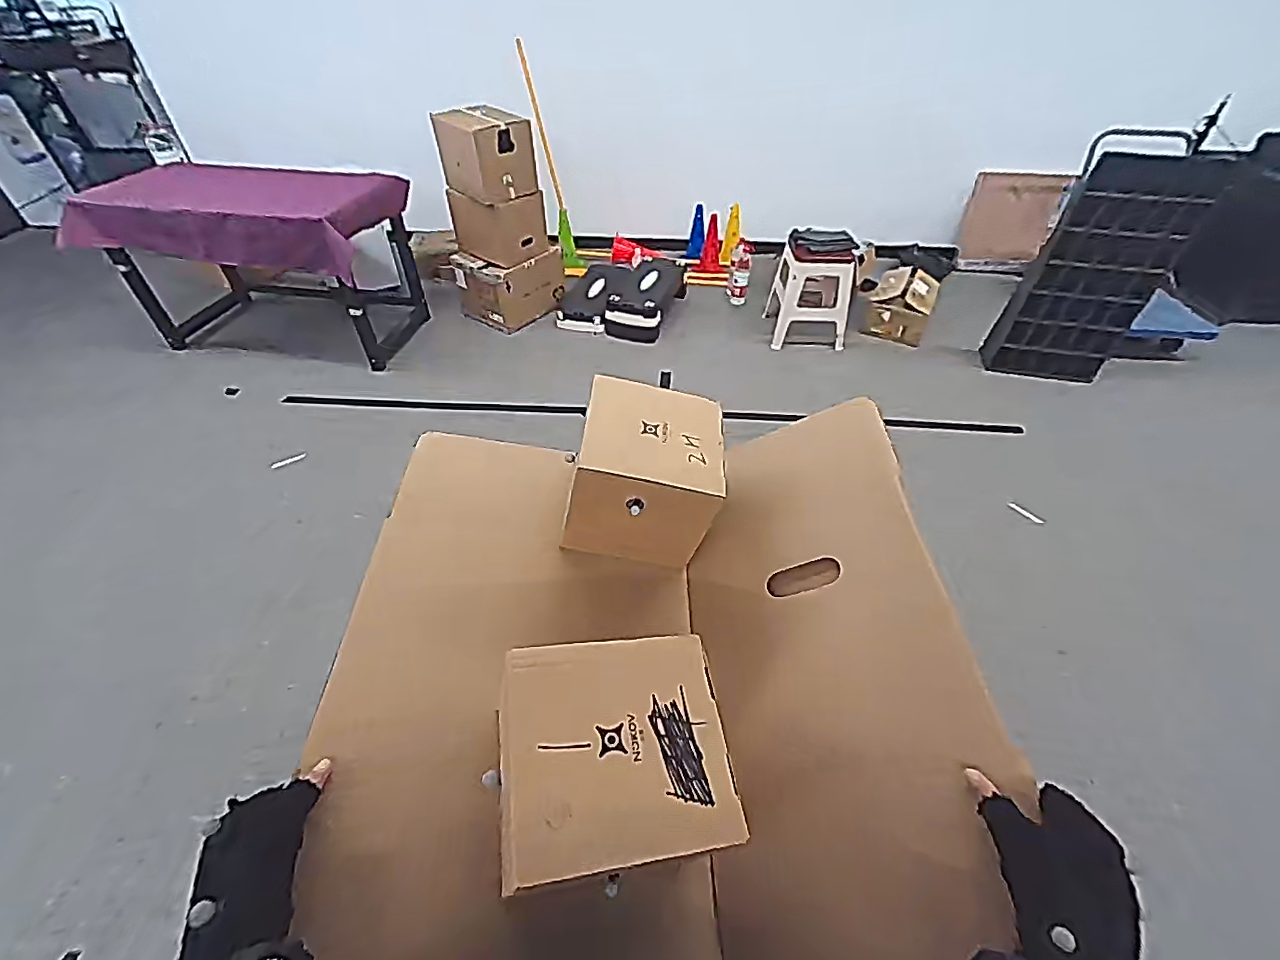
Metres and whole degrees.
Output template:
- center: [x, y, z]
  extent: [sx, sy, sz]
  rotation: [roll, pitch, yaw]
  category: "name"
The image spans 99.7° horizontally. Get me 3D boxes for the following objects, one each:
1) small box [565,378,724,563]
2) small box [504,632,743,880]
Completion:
- center: [0.003, -0.007, 0.732]
  extent: [0.179, 0.176, 0.168]
  rotation: [13, 49, -8]
  category: "small box"
- center: [-0.032, 0.255, 0.504]
  extent: [0.179, 0.176, 0.168]
  rotation: [1, 51, -16]
  category: "small box"
